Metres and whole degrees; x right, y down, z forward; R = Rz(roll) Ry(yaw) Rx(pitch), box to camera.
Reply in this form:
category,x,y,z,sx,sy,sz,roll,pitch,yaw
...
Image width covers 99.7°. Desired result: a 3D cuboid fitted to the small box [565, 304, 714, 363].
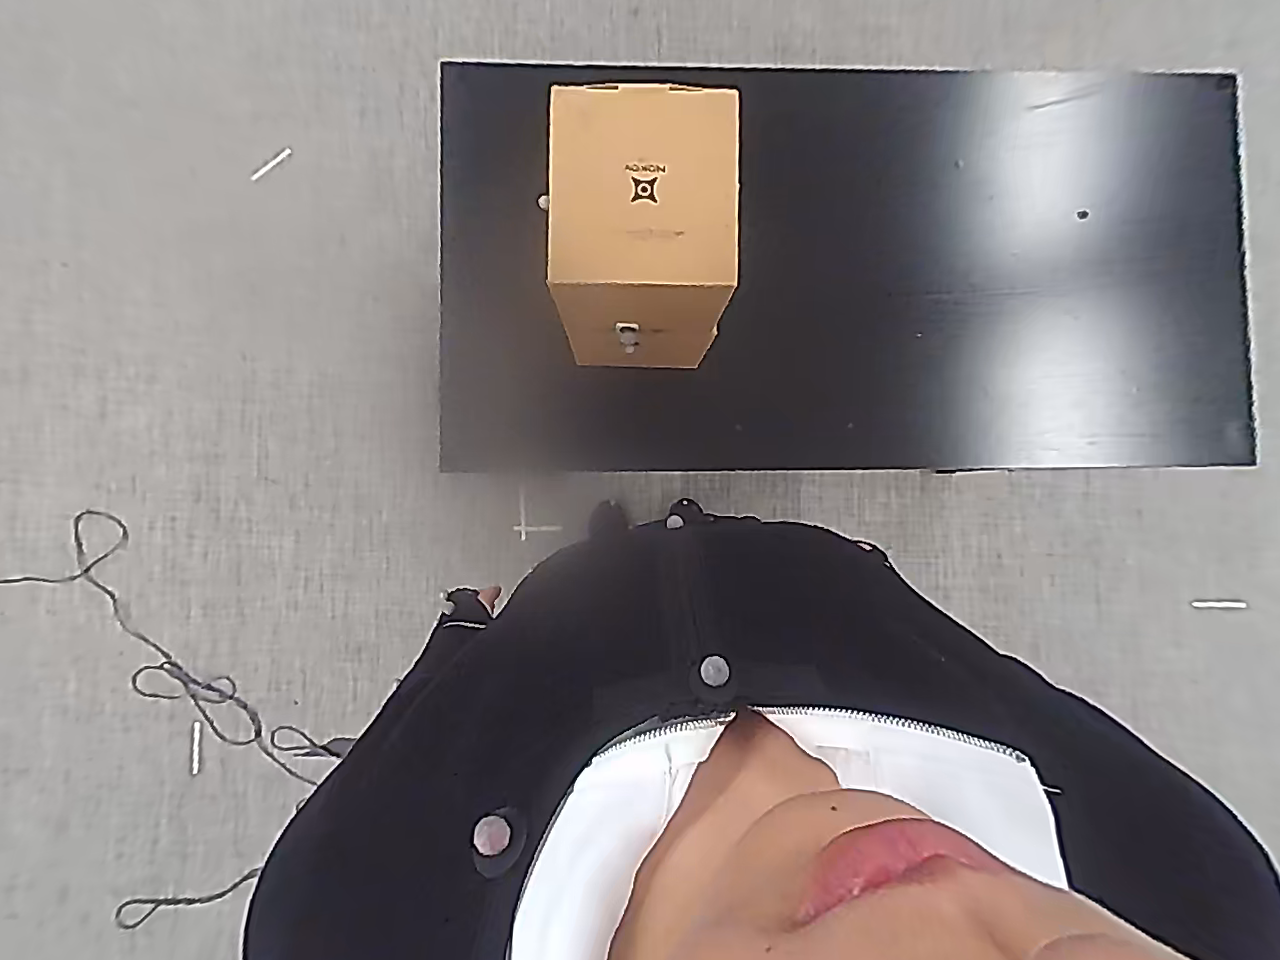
category,x,y,z,sx,sy,sz,roll,pitch,yaw
small box,-0.001,-0.255,0.710,0.179,0.176,0.168,1,88,-3

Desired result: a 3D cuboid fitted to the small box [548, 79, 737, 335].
category,x,y,z,sx,sy,sz,roll,pitch,yaw
small box,0.001,-0.259,0.547,0.168,0.176,0.179,0,89,0
